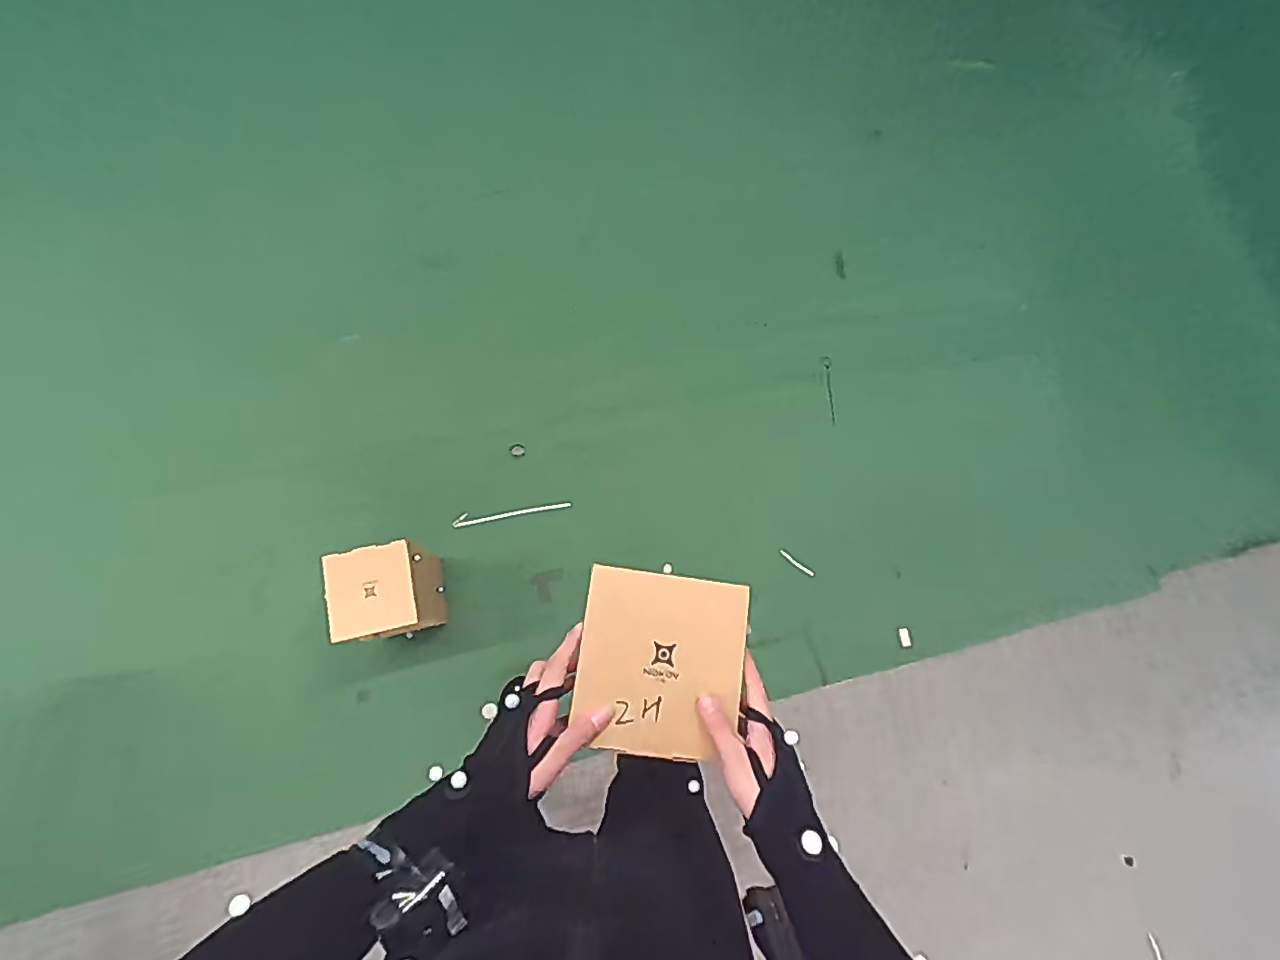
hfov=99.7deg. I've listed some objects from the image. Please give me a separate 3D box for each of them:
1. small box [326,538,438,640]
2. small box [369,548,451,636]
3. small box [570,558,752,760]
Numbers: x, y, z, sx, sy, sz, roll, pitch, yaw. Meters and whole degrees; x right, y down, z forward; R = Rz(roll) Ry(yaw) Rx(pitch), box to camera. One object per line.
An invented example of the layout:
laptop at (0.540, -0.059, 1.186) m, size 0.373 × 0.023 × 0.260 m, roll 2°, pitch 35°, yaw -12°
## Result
small box at (-0.546, 0.235, 1.164) m, size 0.168 × 0.176 × 0.179 m, roll -12°, pitch 77°, yaw -10°
small box at (-0.570, 0.275, 1.319) m, size 0.168 × 0.176 × 0.179 m, roll -11°, pitch 78°, yaw -10°
small box at (0.017, 0.191, 0.615) m, size 0.168 × 0.176 × 0.179 m, roll 9°, pitch 78°, yaw -3°
